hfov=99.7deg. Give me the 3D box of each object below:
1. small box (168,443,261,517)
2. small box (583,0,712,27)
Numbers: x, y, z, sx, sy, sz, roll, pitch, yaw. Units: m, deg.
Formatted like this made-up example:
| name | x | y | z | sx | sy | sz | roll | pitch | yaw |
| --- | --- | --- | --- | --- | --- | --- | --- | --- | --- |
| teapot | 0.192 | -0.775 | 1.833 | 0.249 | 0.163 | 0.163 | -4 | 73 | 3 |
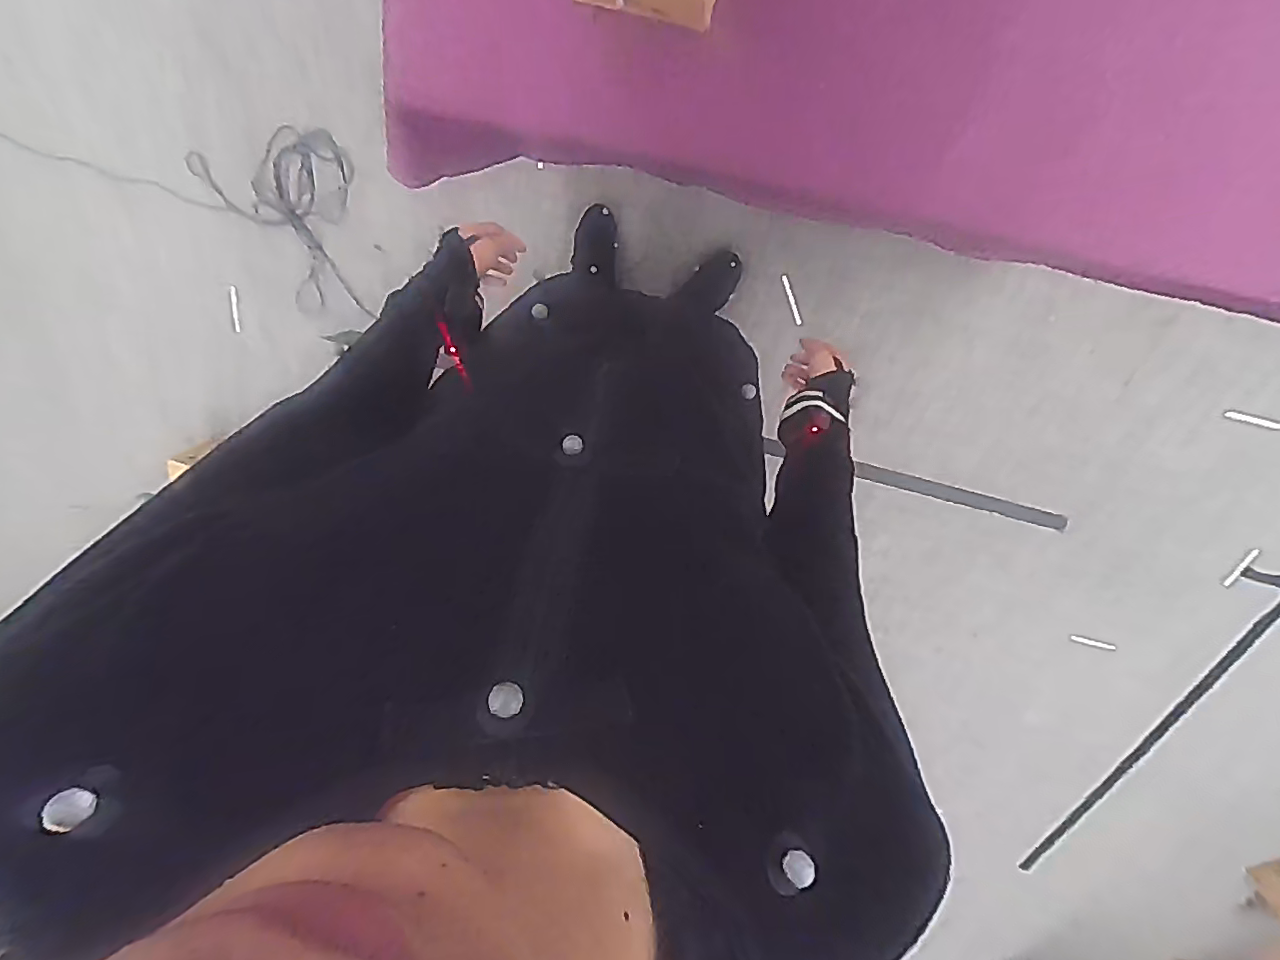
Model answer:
| name | x | y | z | sx | sy | sz | roll | pitch | yaw |
| --- | --- | --- | --- | --- | --- | --- | --- | --- | --- |
| small box | -1.409 | -0.007 | 1.800 | 0.179 | 0.176 | 0.168 | 18 | 118 | -2 |
| small box | 0.008 | -0.588 | 0.525 | 0.168 | 0.176 | 0.179 | 13 | 118 | 0 |
